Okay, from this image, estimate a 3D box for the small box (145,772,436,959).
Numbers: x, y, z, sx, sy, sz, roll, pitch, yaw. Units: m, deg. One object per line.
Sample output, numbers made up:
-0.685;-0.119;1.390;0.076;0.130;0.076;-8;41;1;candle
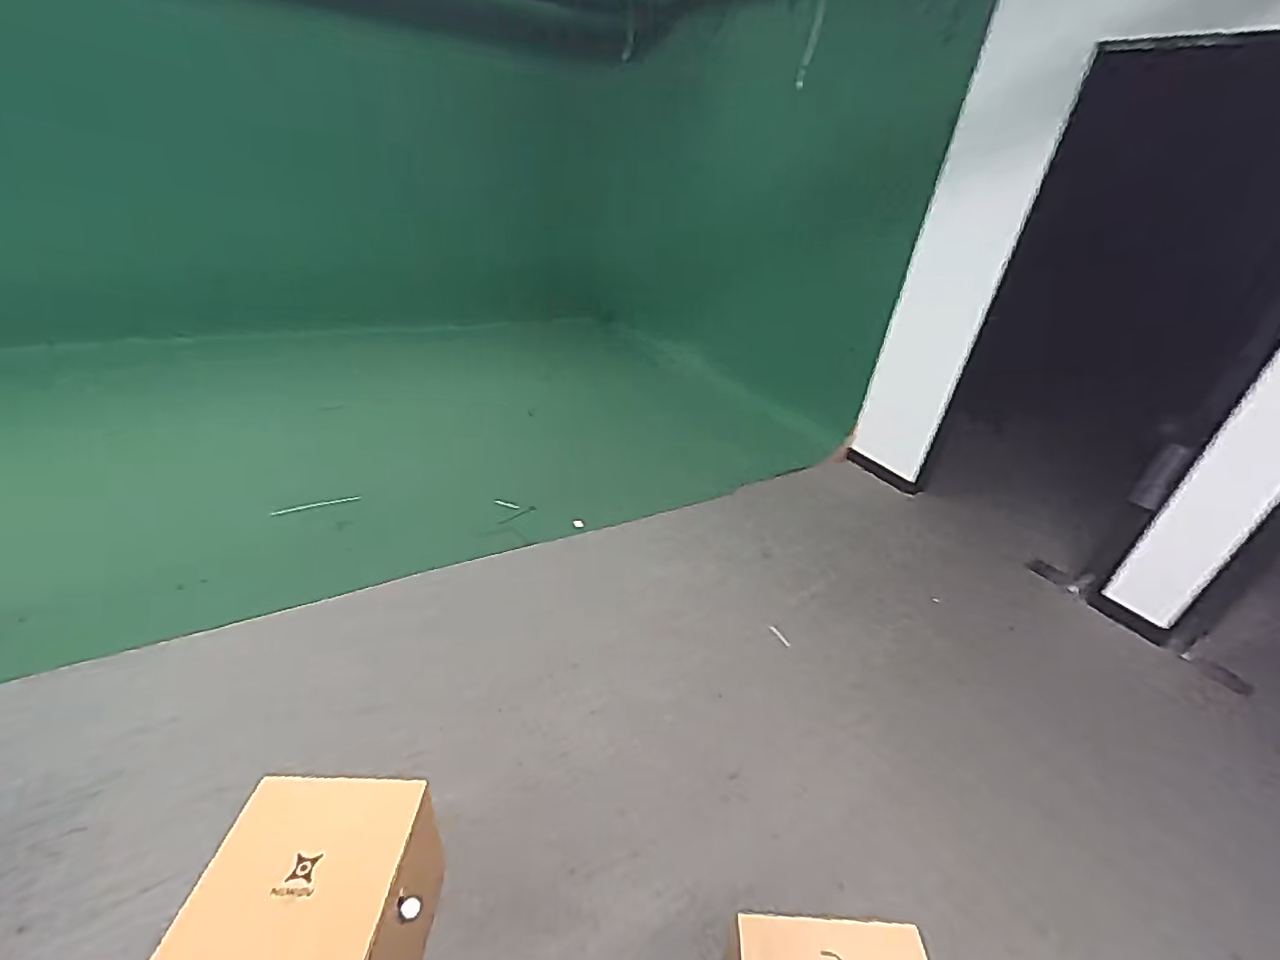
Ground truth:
-0.303;0.412;0.512;0.168;0.176;0.179;3;30;-2;small box
